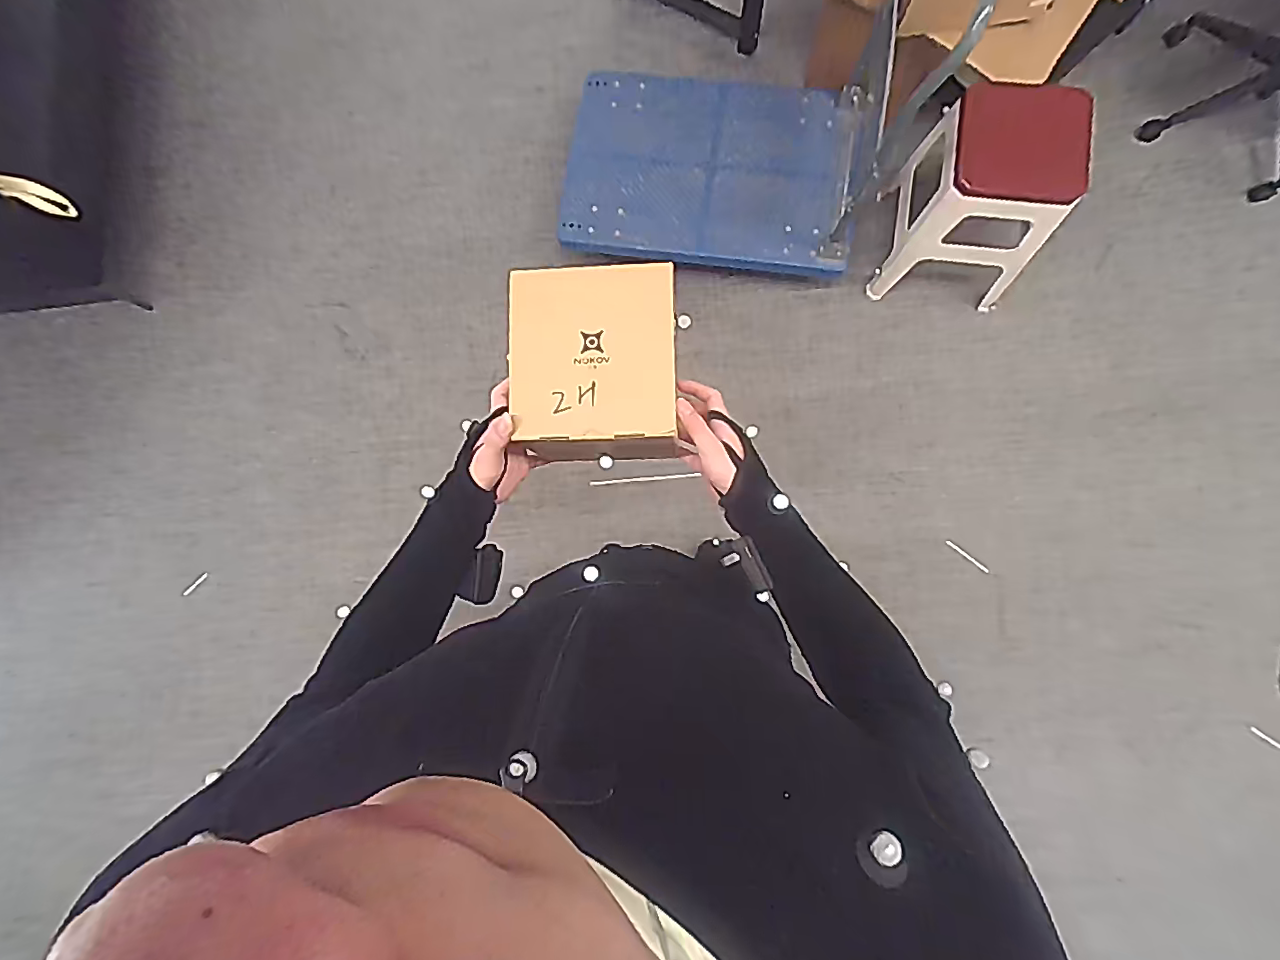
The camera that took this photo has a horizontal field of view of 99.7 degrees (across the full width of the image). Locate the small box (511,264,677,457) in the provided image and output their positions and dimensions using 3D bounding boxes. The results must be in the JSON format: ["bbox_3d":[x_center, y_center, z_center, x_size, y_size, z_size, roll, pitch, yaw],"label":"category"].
[{"bbox_3d":[-0.042,-0.124,0.620,0.168,0.176,0.179,-1,85,4],"label":"small box"}]
